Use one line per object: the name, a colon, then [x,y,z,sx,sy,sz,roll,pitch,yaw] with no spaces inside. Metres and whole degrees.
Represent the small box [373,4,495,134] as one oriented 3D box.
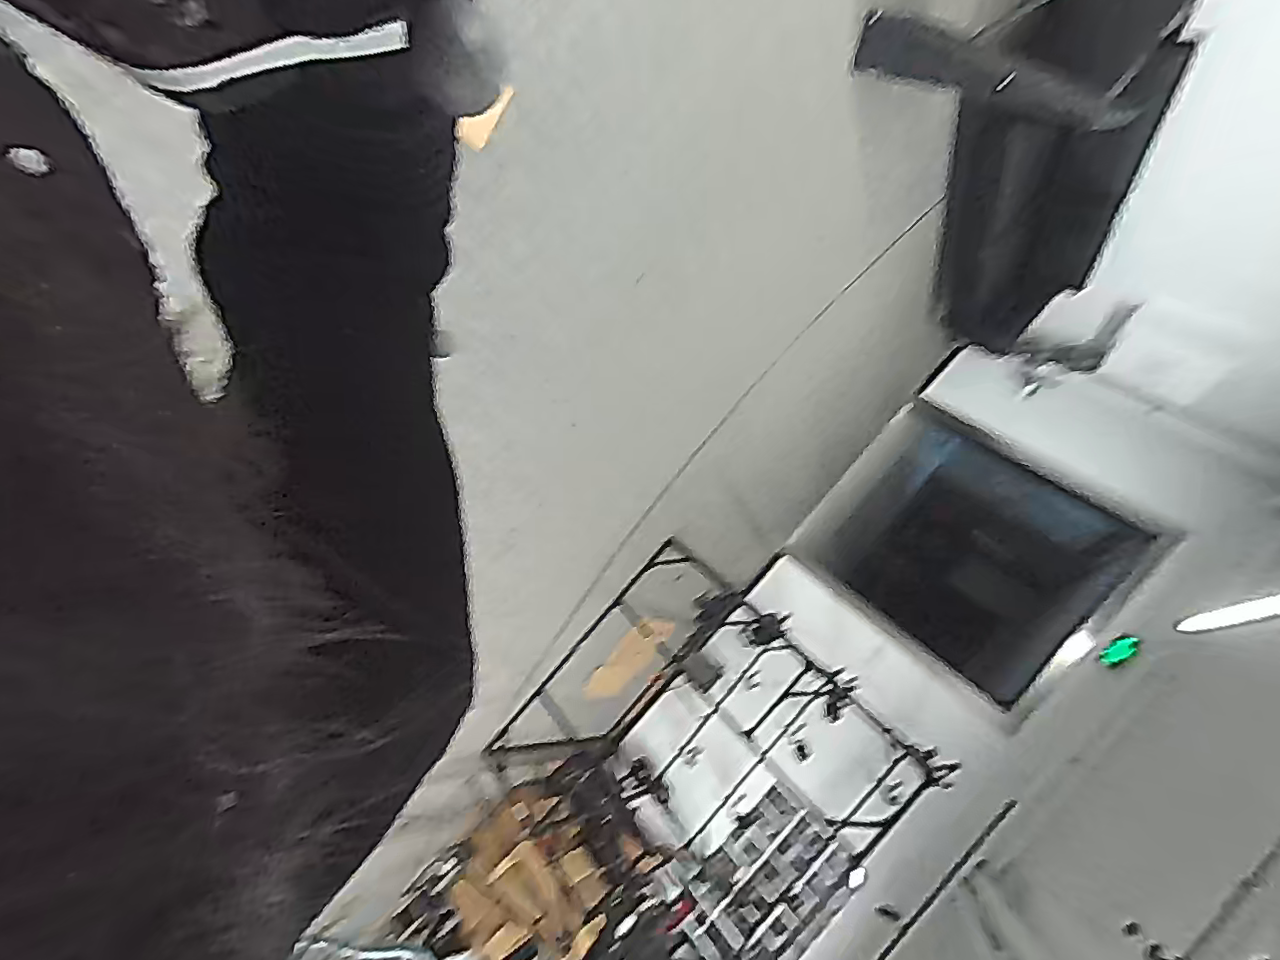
small box: [-0.486,-0.971,1.277,0.168,0.176,0.179,-55,151,11]
